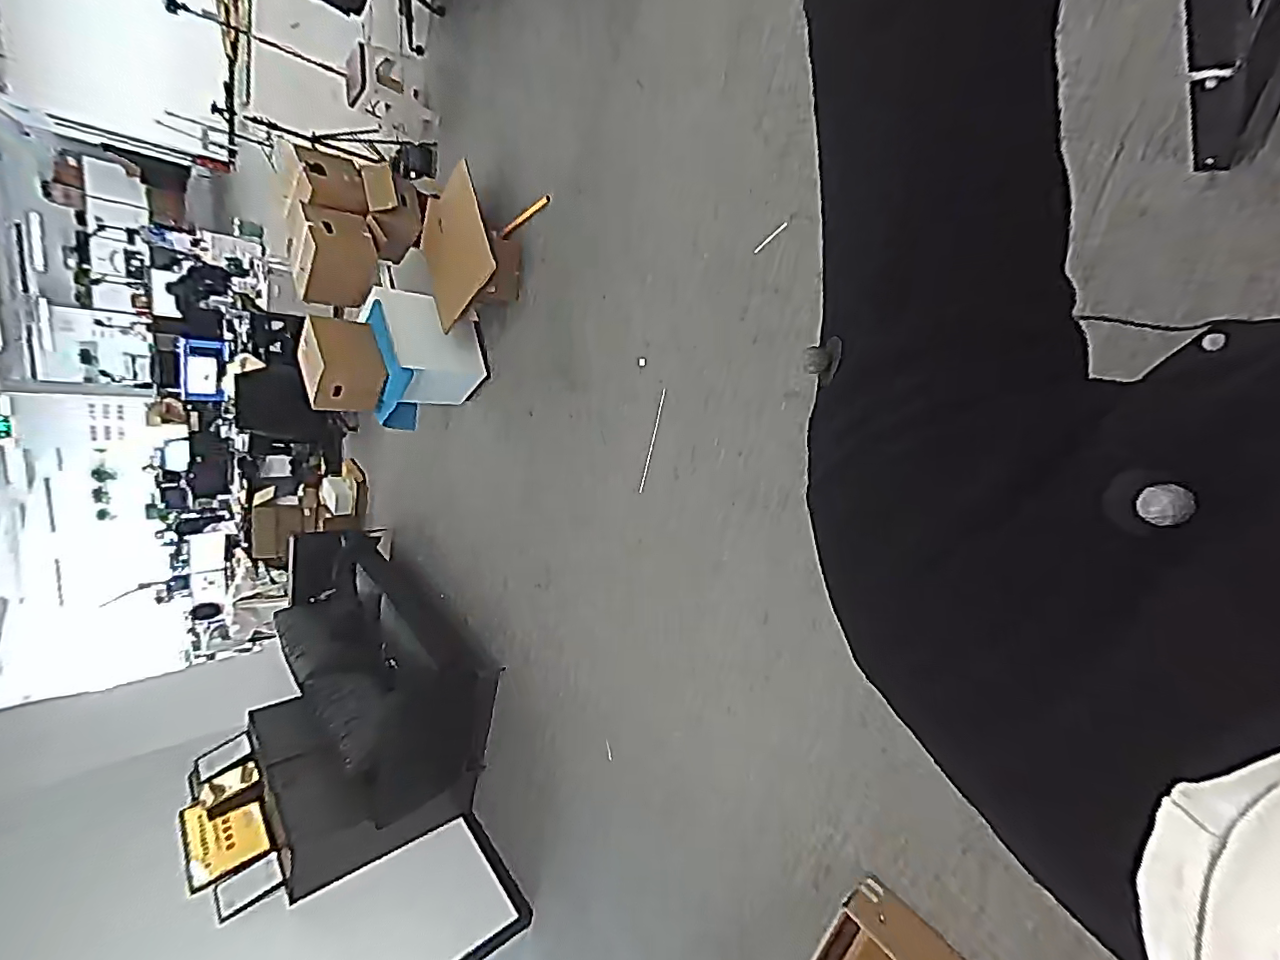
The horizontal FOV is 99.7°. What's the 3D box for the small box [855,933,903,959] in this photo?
[{"bbox_3d":[0.713,1.518,1.609,0.168,0.176,0.179,33,116,39],"label":"small box"}]
